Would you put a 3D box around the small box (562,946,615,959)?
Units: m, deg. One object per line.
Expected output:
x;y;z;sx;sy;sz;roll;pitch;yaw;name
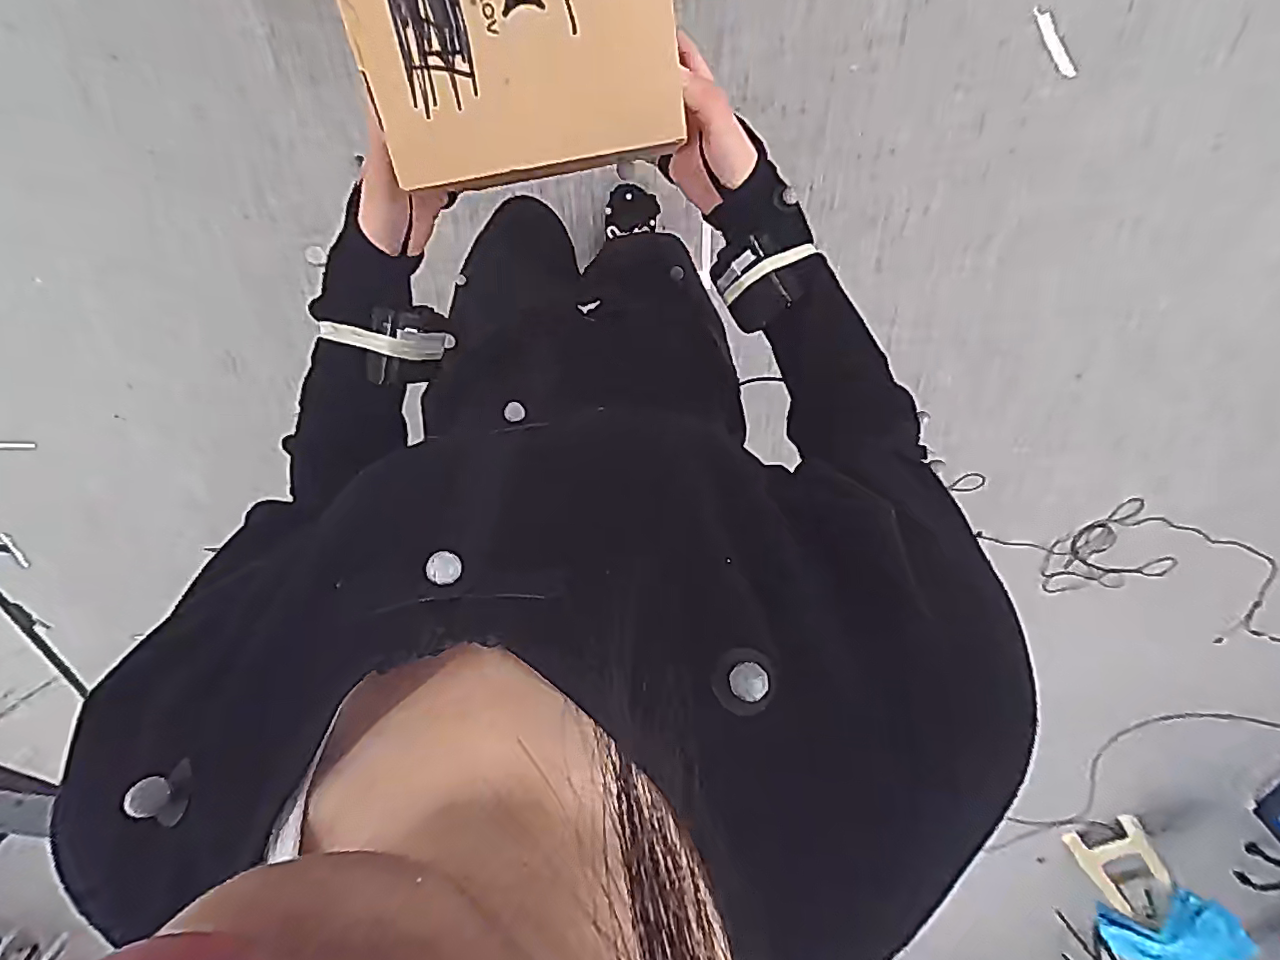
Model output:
-0.163;1.565;1.648;0.168;0.176;0.179;4;119;-4;small box
